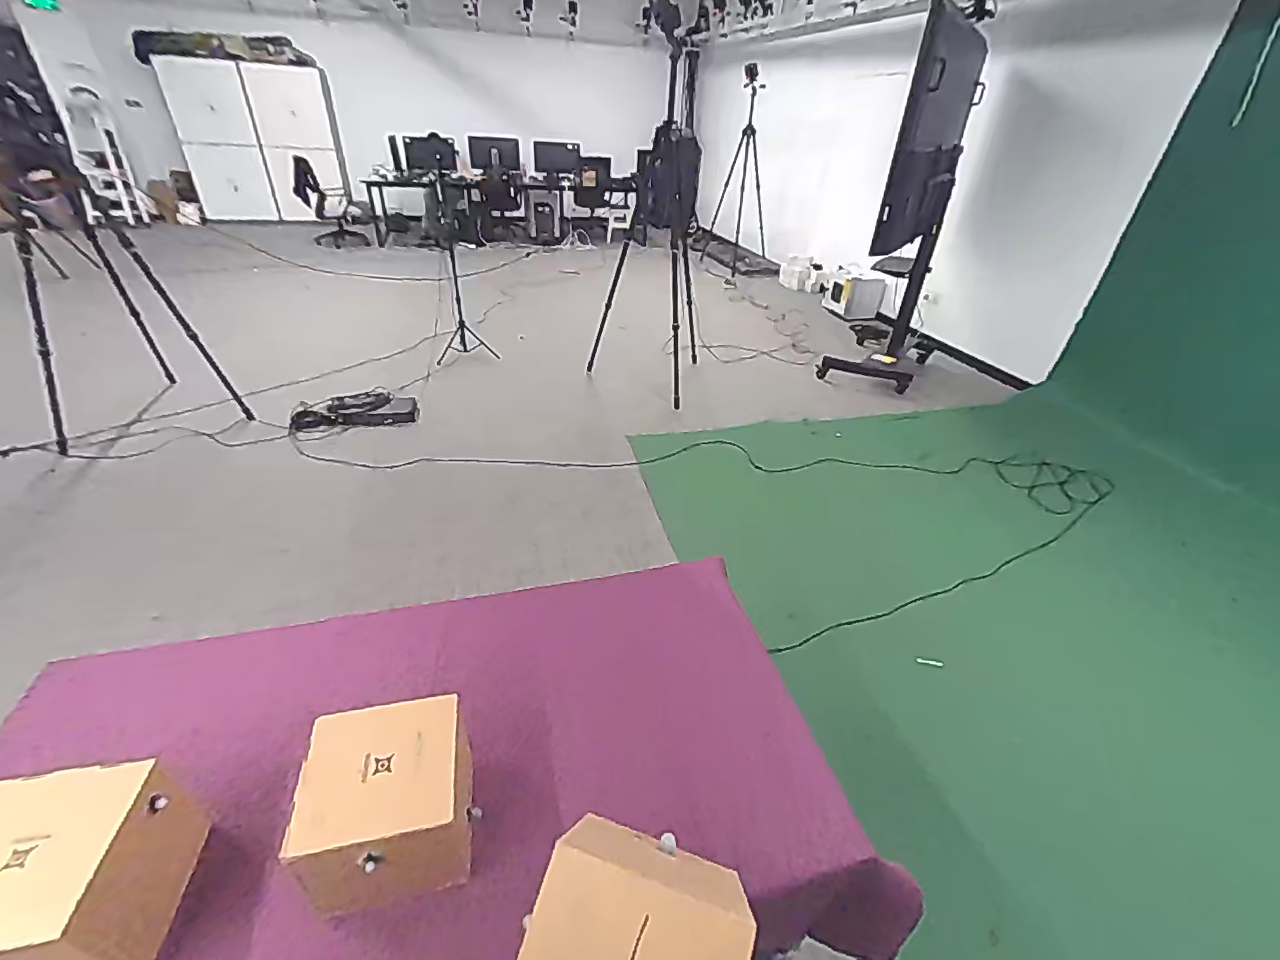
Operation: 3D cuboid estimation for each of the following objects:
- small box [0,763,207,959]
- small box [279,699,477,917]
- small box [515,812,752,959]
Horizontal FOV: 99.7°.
[{"bbox_3d":[-0.631,0.454,0.598,0.168,0.176,0.179,-4,33,-11],"label":"small box"},{"bbox_3d":[-0.311,0.412,0.685,0.179,0.176,0.168,-5,34,-12],"label":"small box"},{"bbox_3d":[-0.010,0.415,0.463,0.168,0.176,0.179,15,66,11],"label":"small box"}]
